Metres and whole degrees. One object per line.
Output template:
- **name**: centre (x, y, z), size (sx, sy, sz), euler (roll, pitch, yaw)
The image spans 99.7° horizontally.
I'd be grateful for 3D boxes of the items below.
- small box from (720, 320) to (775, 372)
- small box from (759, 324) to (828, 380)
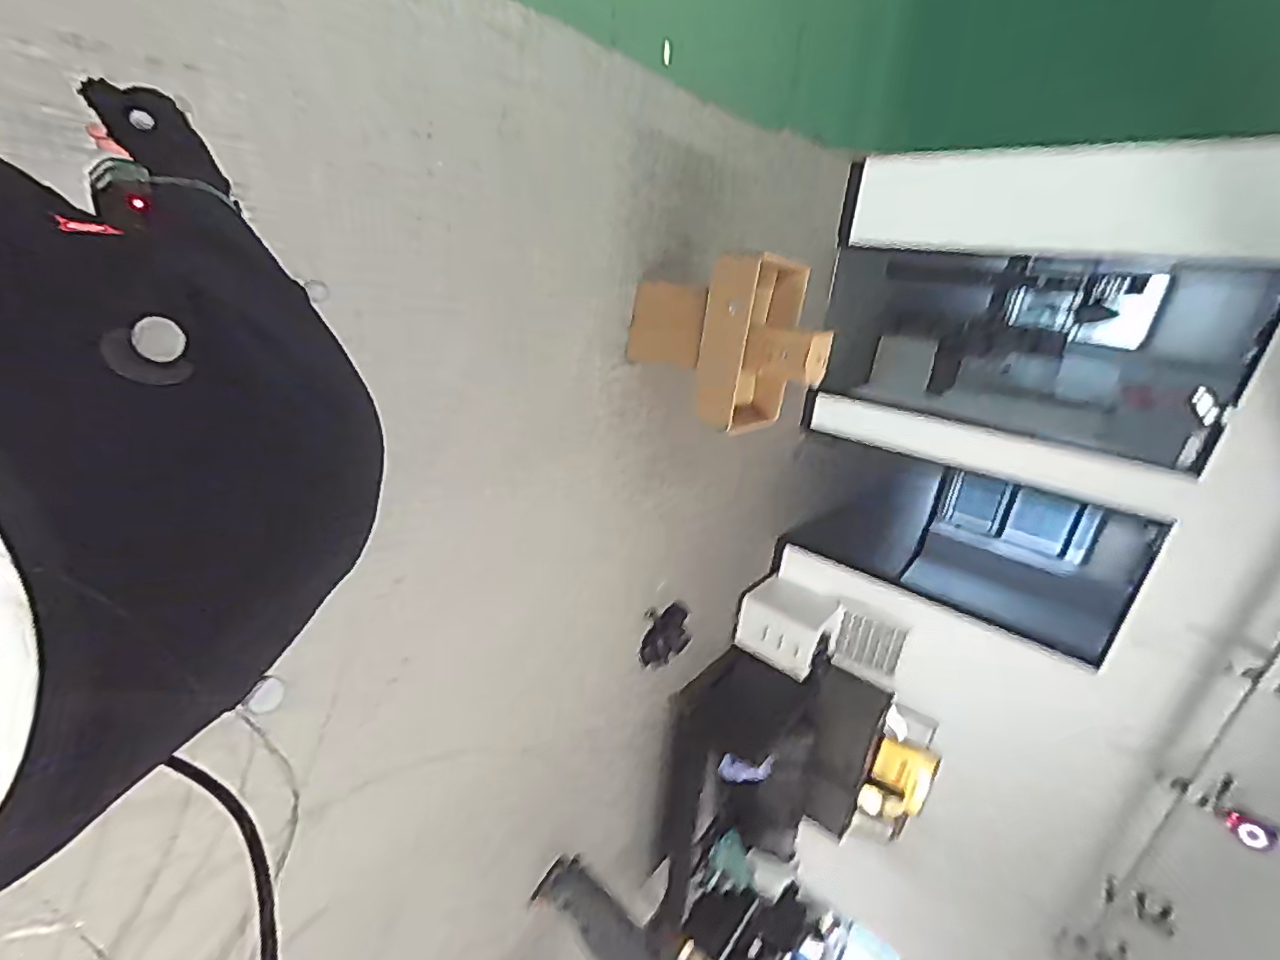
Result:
- **small box**: centre (0.420, -0.508, 2.038), size (0.179, 0.176, 0.168), euler (-22, 126, -49)
- **small box**: centre (0.547, -0.464, 1.945), size (0.179, 0.176, 0.168), euler (-20, 124, -47)
